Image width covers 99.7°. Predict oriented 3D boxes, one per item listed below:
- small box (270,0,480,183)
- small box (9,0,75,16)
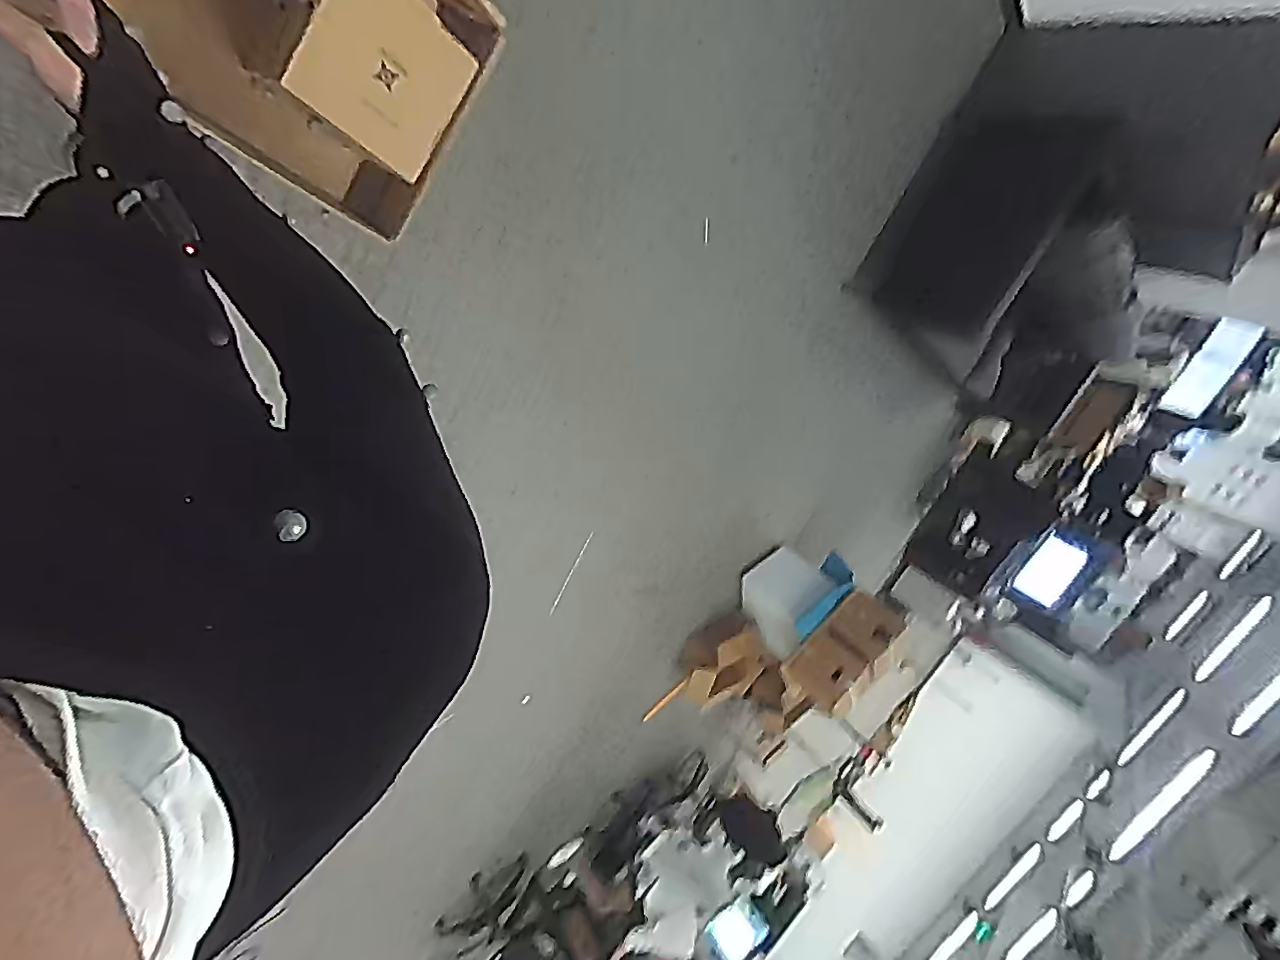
[{"bbox_3d":[-0.347,-0.528,0.698,0.168,0.176,0.179,26,102,-49],"label":"small box"},{"bbox_3d":[-0.539,-0.494,0.389,0.168,0.176,0.179,-1,111,-40],"label":"small box"}]
